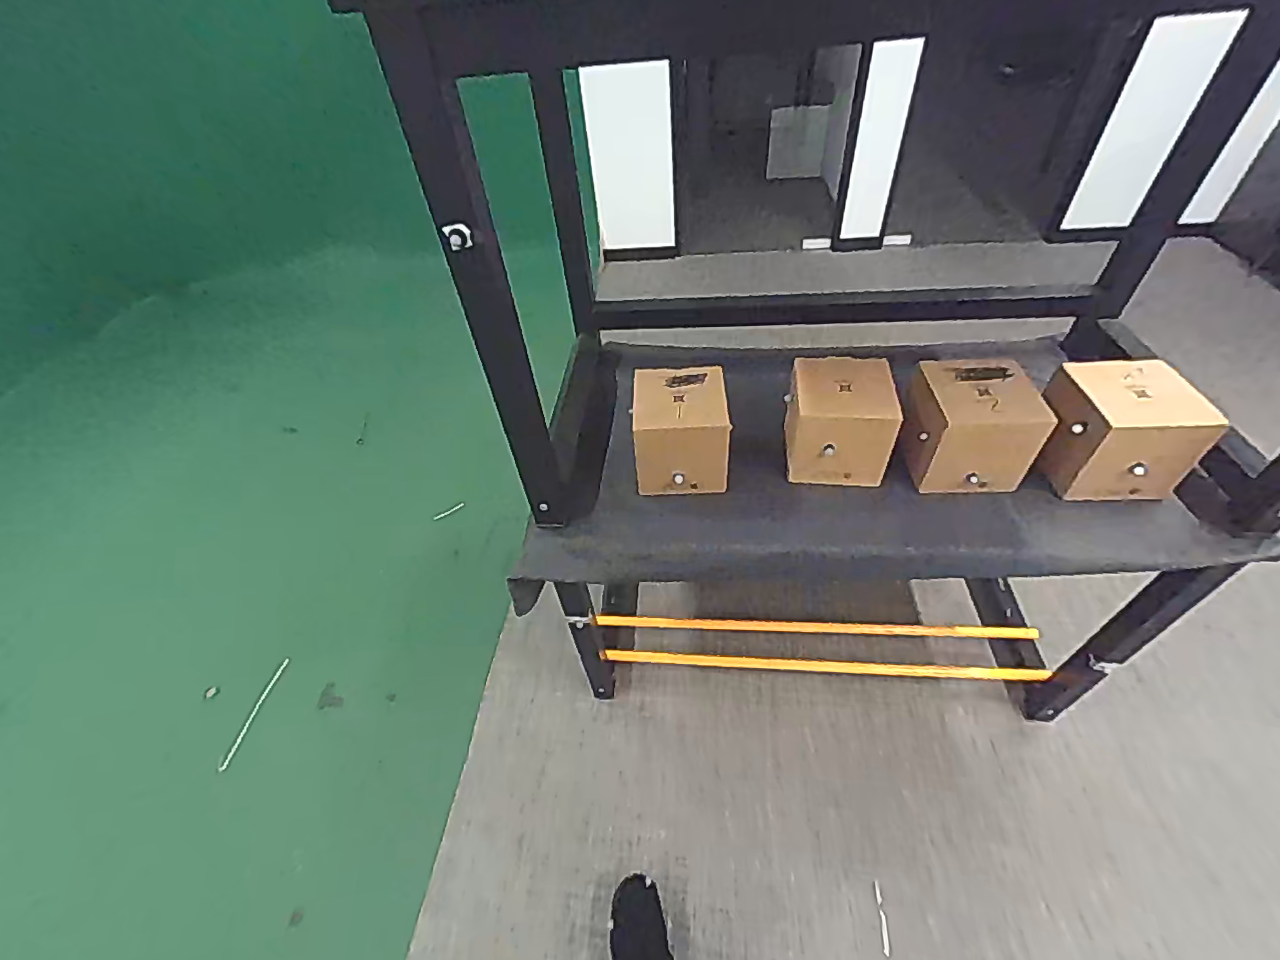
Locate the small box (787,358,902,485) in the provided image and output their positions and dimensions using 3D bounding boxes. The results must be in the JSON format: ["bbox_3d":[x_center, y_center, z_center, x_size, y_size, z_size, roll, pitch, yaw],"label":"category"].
[{"bbox_3d":[0.368,-0.107,1.006,0.168,0.176,0.179,3,46,9],"label":"small box"}]

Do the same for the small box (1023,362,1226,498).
[{"bbox_3d":[0.809,-0.082,0.928,0.168,0.176,0.179,0,45,5],"label":"small box"}]

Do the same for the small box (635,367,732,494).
[{"bbox_3d":[0.080,-0.093,1.019,0.168,0.176,0.179,-2,47,4],"label":"small box"}]
